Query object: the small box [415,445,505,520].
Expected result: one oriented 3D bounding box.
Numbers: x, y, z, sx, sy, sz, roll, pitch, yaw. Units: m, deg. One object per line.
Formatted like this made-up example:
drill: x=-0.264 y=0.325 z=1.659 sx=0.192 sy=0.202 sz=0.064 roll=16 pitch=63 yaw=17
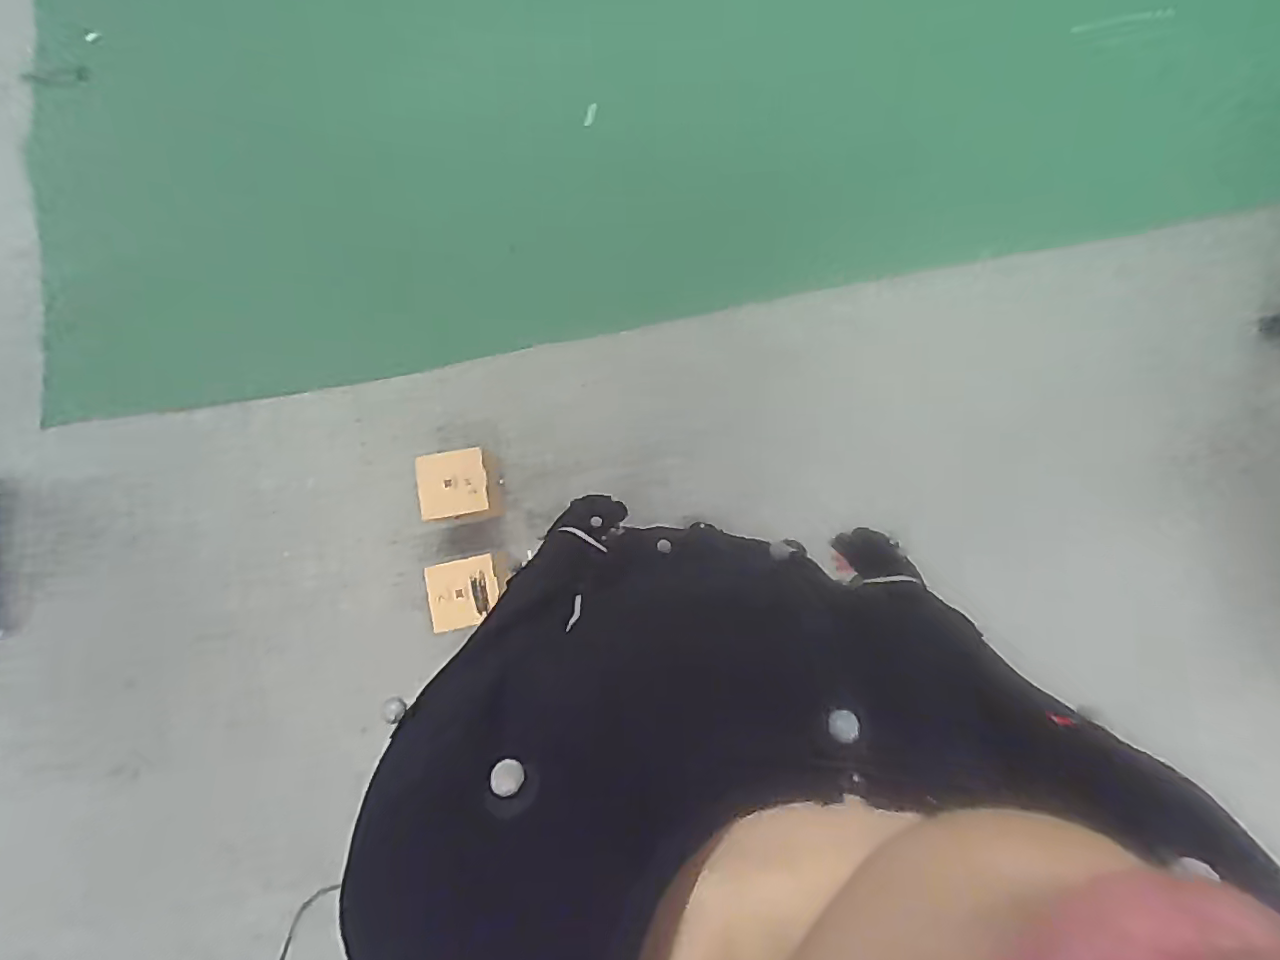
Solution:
small box: x=-0.478 y=0.012 z=1.453 sx=0.179 sy=0.176 sz=0.168 roll=-9 pitch=83 yaw=0
